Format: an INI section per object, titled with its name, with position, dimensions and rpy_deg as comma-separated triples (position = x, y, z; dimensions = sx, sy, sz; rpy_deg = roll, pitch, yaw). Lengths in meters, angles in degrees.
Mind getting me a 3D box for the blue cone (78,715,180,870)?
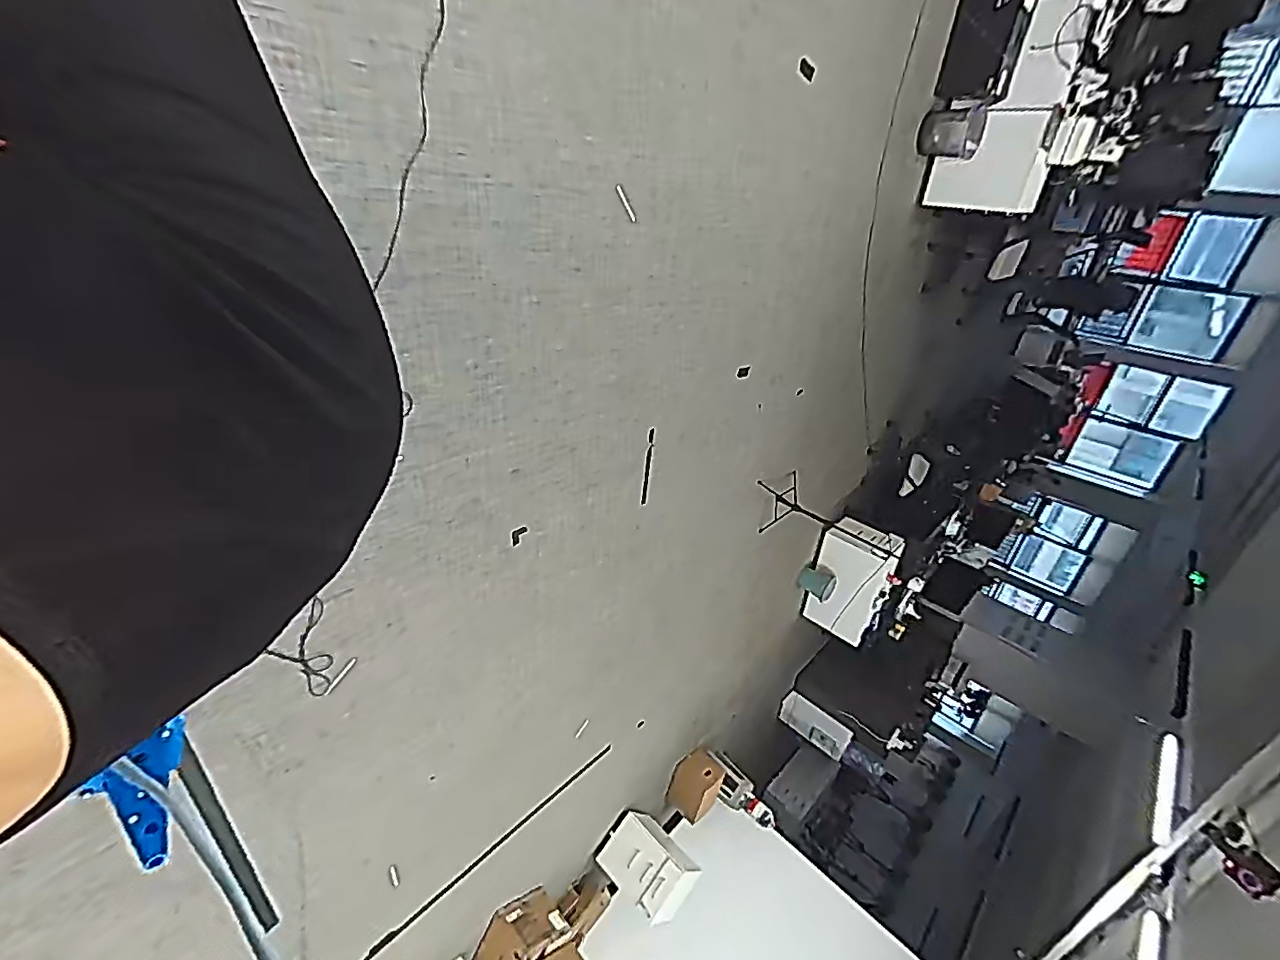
[blue cone]
position = -1.220, 0.776, 1.320
dimensions = 0.193, 0.380, 0.192
rpy_deg = 4, 110, -51
